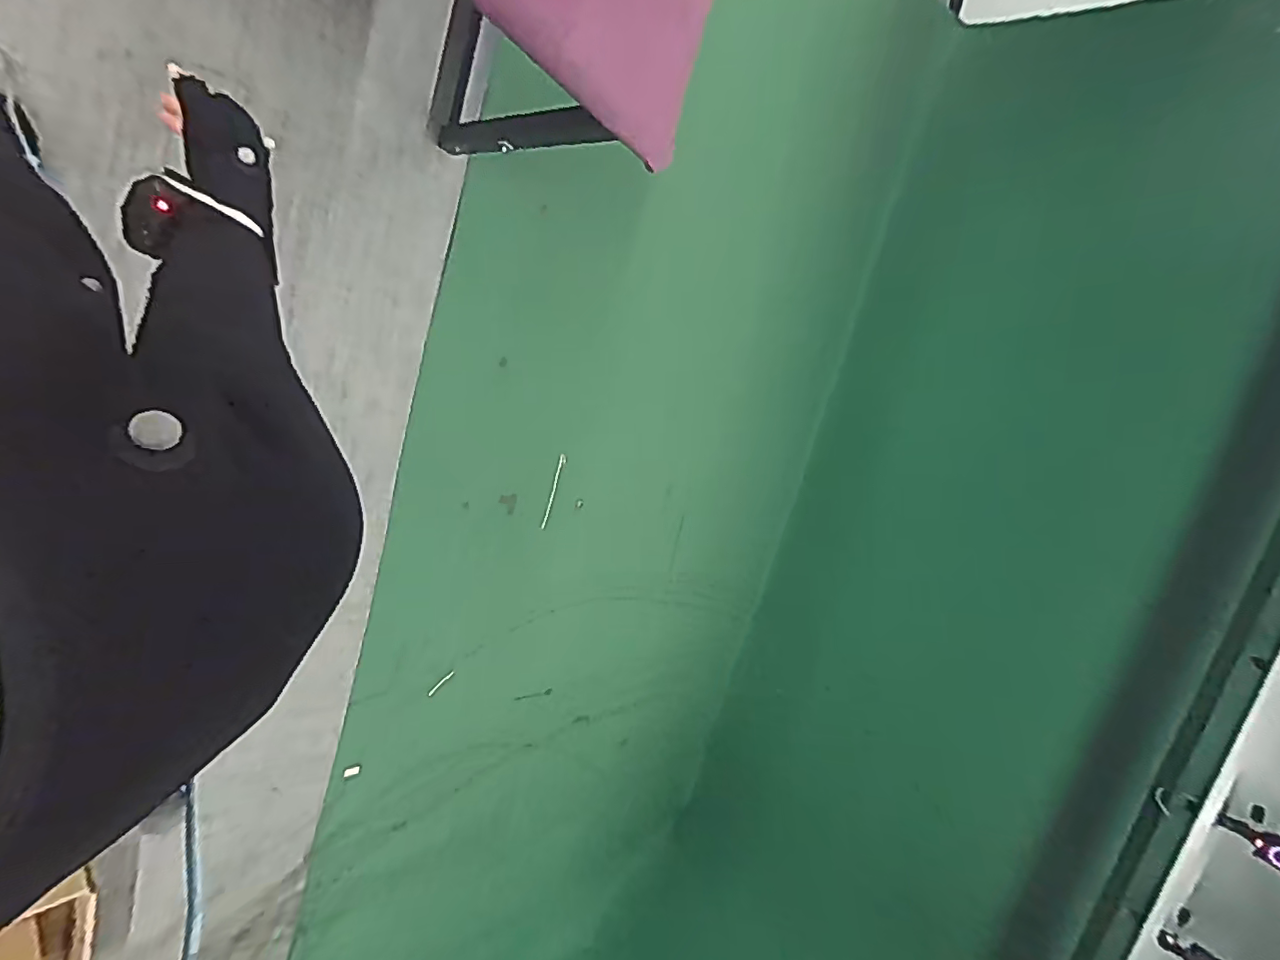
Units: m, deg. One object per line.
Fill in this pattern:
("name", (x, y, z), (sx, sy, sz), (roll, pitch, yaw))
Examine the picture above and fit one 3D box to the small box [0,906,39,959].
("small box", (-1.377, 1.050, 1.117), (0.168, 0.176, 0.179), (4, 105, -53))
